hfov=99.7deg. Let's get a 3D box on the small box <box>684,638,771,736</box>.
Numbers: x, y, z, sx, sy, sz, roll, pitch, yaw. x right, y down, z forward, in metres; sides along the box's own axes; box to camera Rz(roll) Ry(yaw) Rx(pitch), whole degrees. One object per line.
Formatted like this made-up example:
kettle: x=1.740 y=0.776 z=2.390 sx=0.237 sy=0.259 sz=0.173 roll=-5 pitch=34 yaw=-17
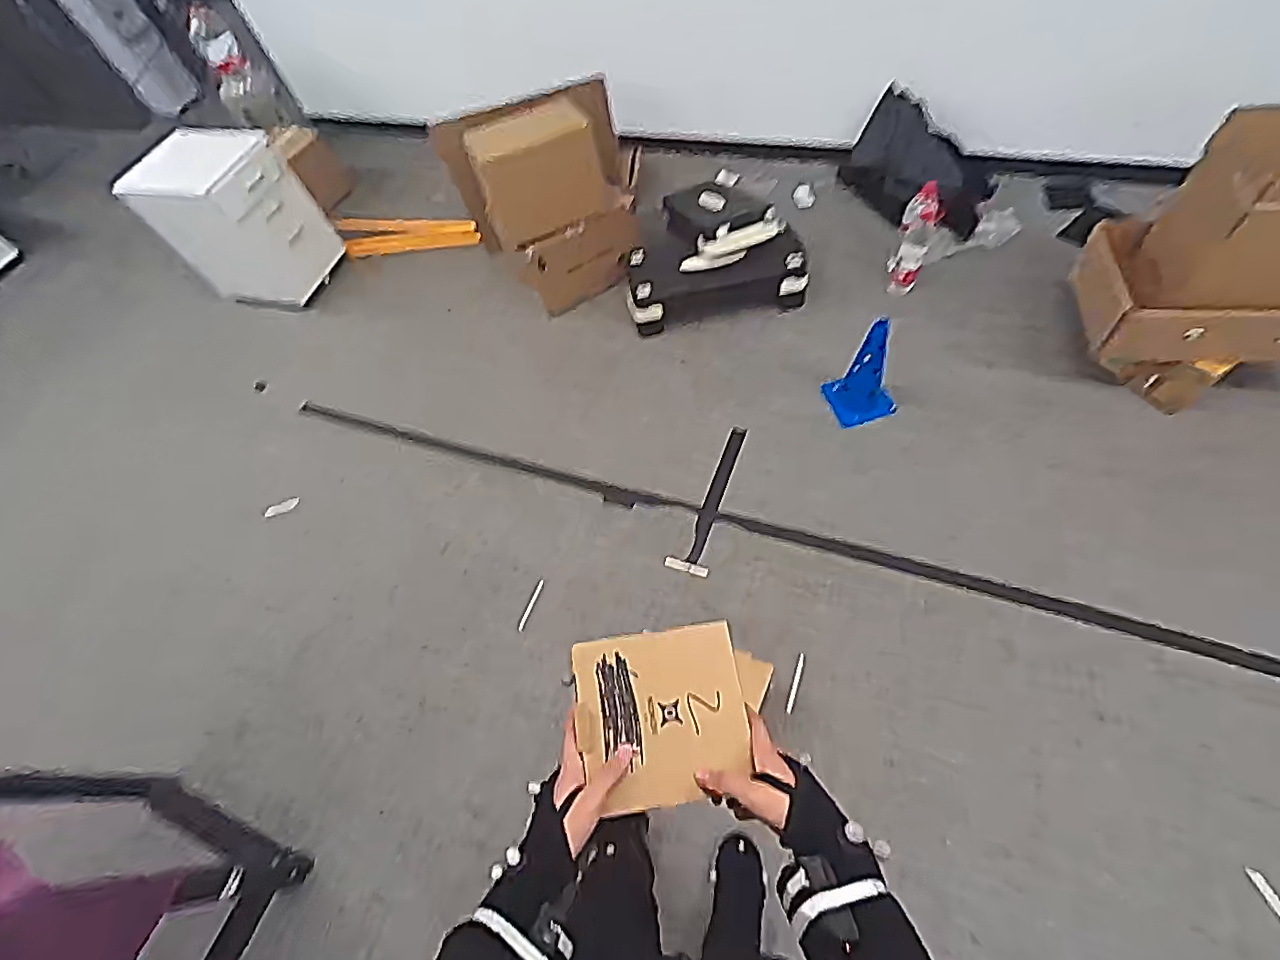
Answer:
small box: x=0.227 y=0.538 z=1.393 sx=0.168 sy=0.176 sz=0.179 roll=20 pitch=65 yaw=19
